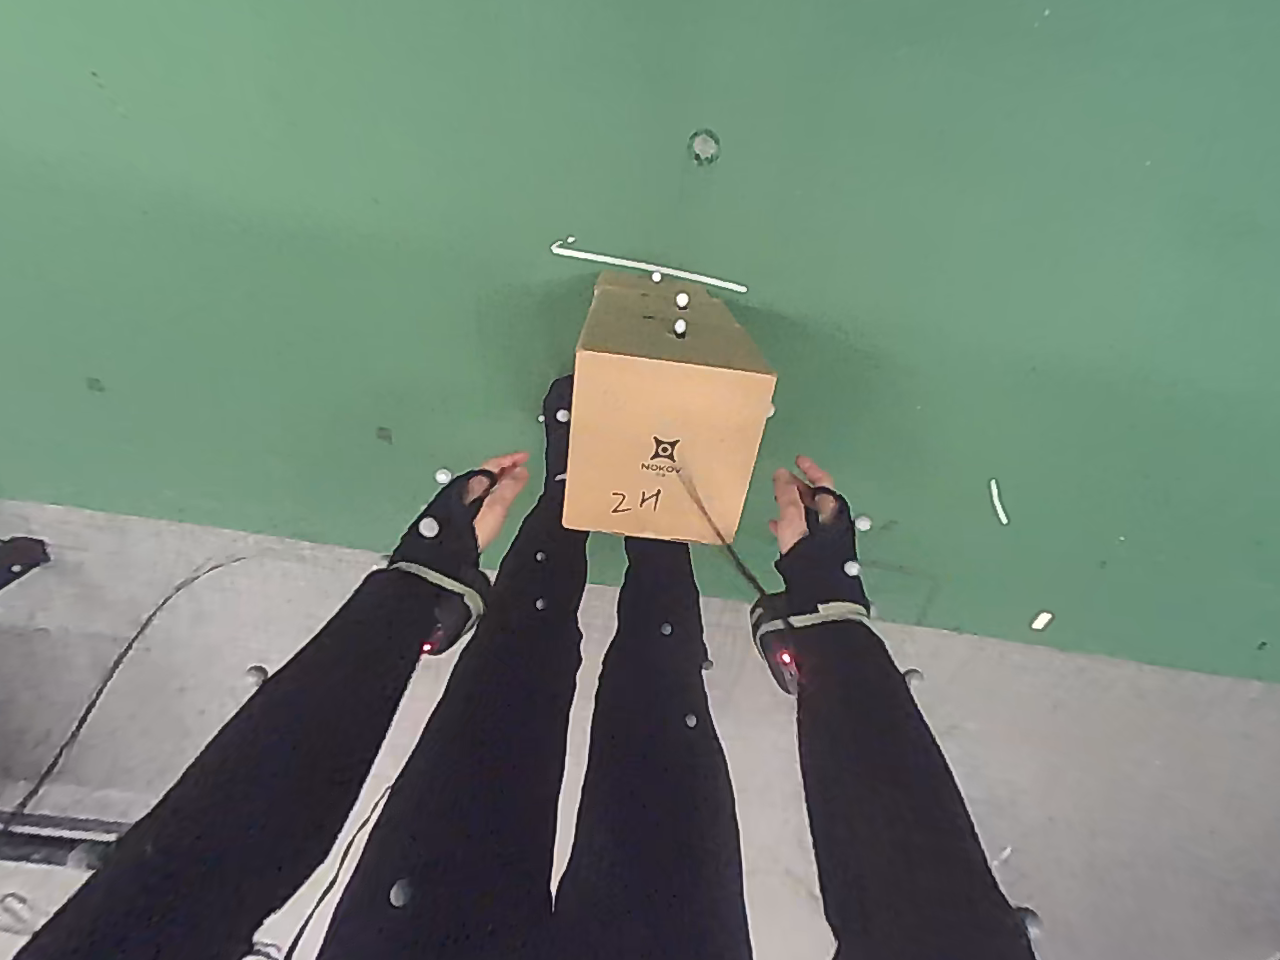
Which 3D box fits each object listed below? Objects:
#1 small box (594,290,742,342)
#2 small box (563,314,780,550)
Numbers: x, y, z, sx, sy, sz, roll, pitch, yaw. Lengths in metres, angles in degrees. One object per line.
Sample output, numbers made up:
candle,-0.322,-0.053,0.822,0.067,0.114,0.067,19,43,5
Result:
small box,0.018,-0.133,0.687,0.168,0.176,0.179,6,119,-4
small box,0.020,-0.056,0.541,0.168,0.176,0.179,8,119,-4
